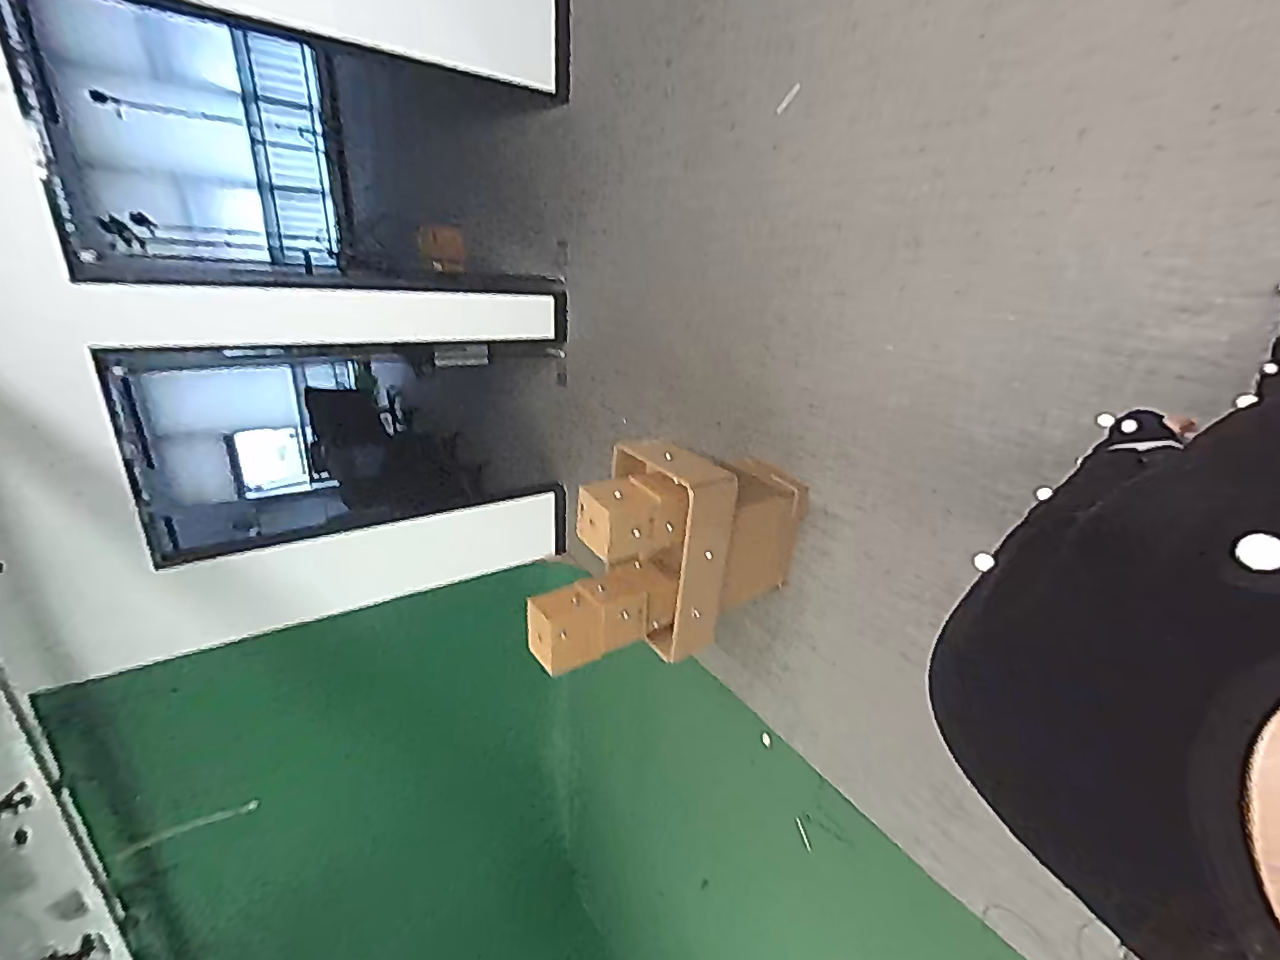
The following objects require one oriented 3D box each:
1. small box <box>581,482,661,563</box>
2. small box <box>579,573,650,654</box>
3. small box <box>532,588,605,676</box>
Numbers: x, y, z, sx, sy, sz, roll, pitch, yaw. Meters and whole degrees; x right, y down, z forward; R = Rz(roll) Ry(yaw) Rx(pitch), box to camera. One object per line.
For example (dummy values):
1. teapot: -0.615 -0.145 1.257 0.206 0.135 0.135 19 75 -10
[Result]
1. small box: -0.056 0.117 1.599 0.179 0.176 0.168 34 126 46
2. small box: -0.081 0.417 1.726 0.179 0.176 0.168 28 121 51
3. small box: -0.215 0.455 1.641 0.168 0.176 0.179 25 118 51
